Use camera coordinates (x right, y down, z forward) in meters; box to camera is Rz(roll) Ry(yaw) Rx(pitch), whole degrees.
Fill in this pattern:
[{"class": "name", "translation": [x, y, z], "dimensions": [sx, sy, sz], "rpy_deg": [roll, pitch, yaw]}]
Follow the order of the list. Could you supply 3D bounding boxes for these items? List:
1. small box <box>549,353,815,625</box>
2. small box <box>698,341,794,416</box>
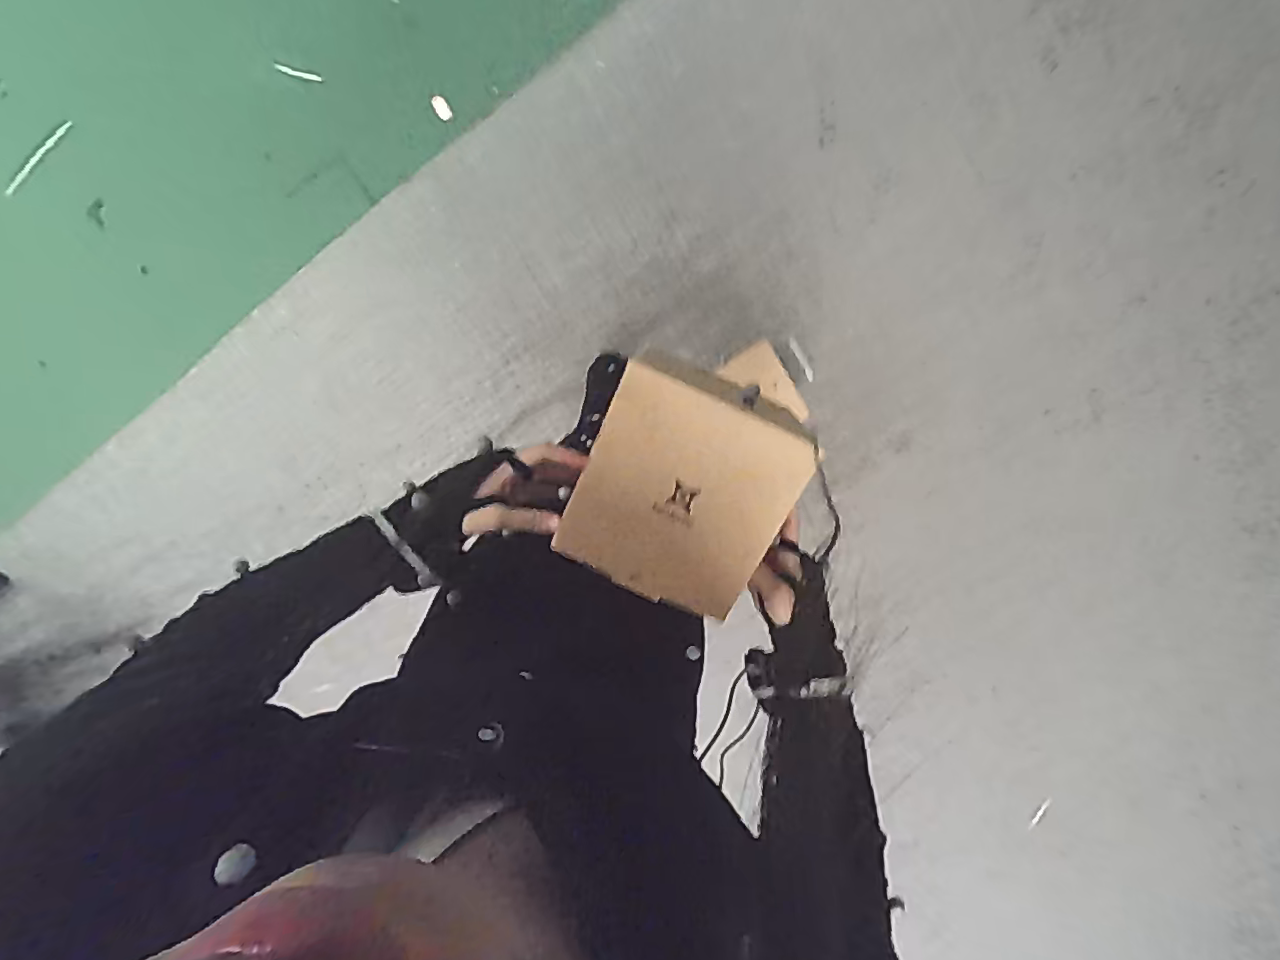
[{"class": "small box", "translation": [0.035, -0.004, 0.513], "dimensions": [0.168, 0.176, 0.179], "rpy_deg": [24, 112, -3]}, {"class": "small box", "translation": [0.233, -0.210, 1.257], "dimensions": [0.179, 0.176, 0.168], "rpy_deg": [-29, 98, 15]}]
